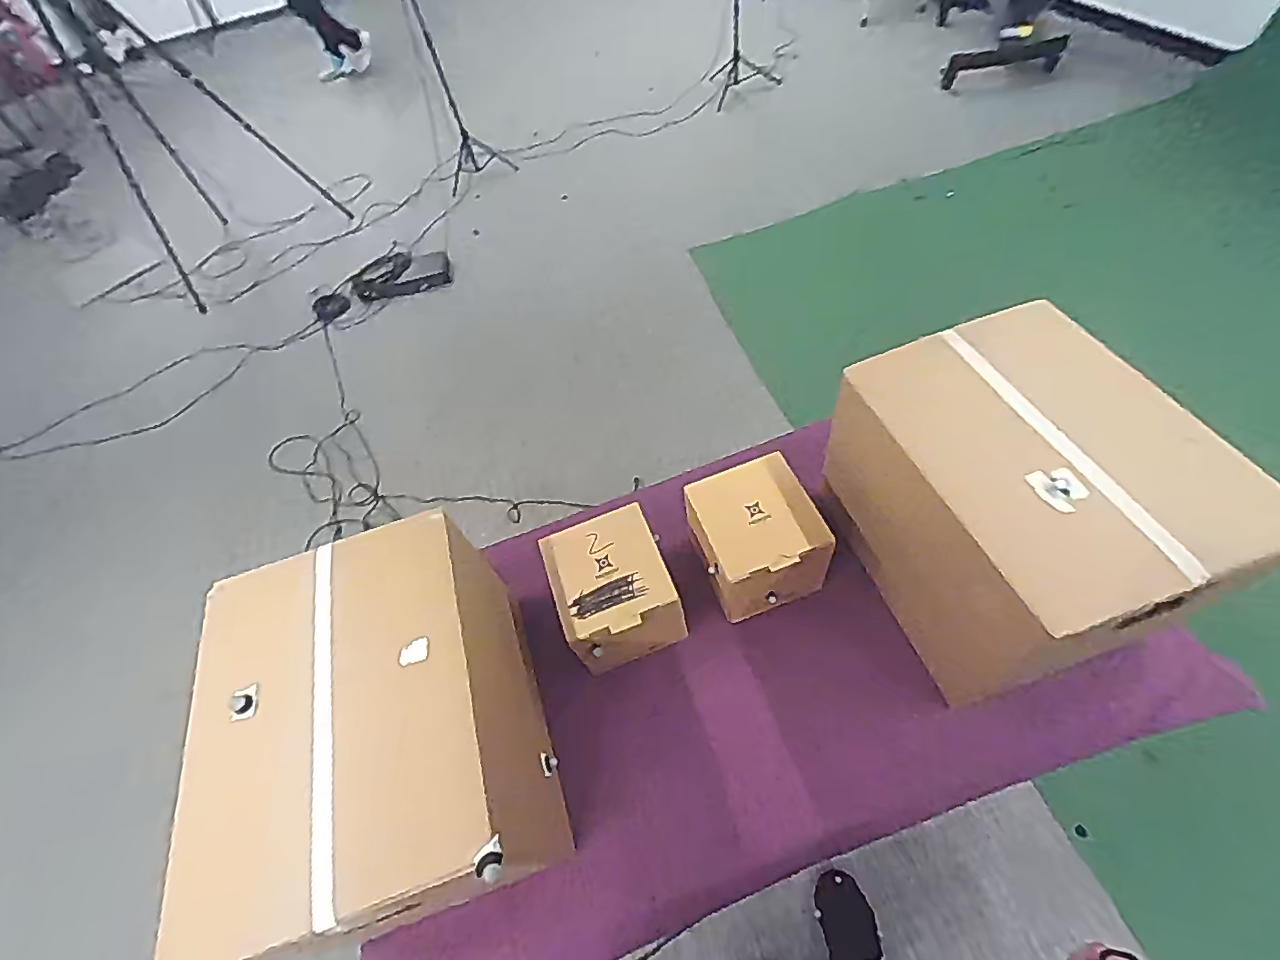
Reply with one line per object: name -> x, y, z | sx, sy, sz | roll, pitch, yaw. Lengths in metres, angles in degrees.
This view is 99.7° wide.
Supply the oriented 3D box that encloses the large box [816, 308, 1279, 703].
large box -> 0.500, 0.036, 0.763 | 0.320, 0.320, 0.408 | -20, 56, -3
